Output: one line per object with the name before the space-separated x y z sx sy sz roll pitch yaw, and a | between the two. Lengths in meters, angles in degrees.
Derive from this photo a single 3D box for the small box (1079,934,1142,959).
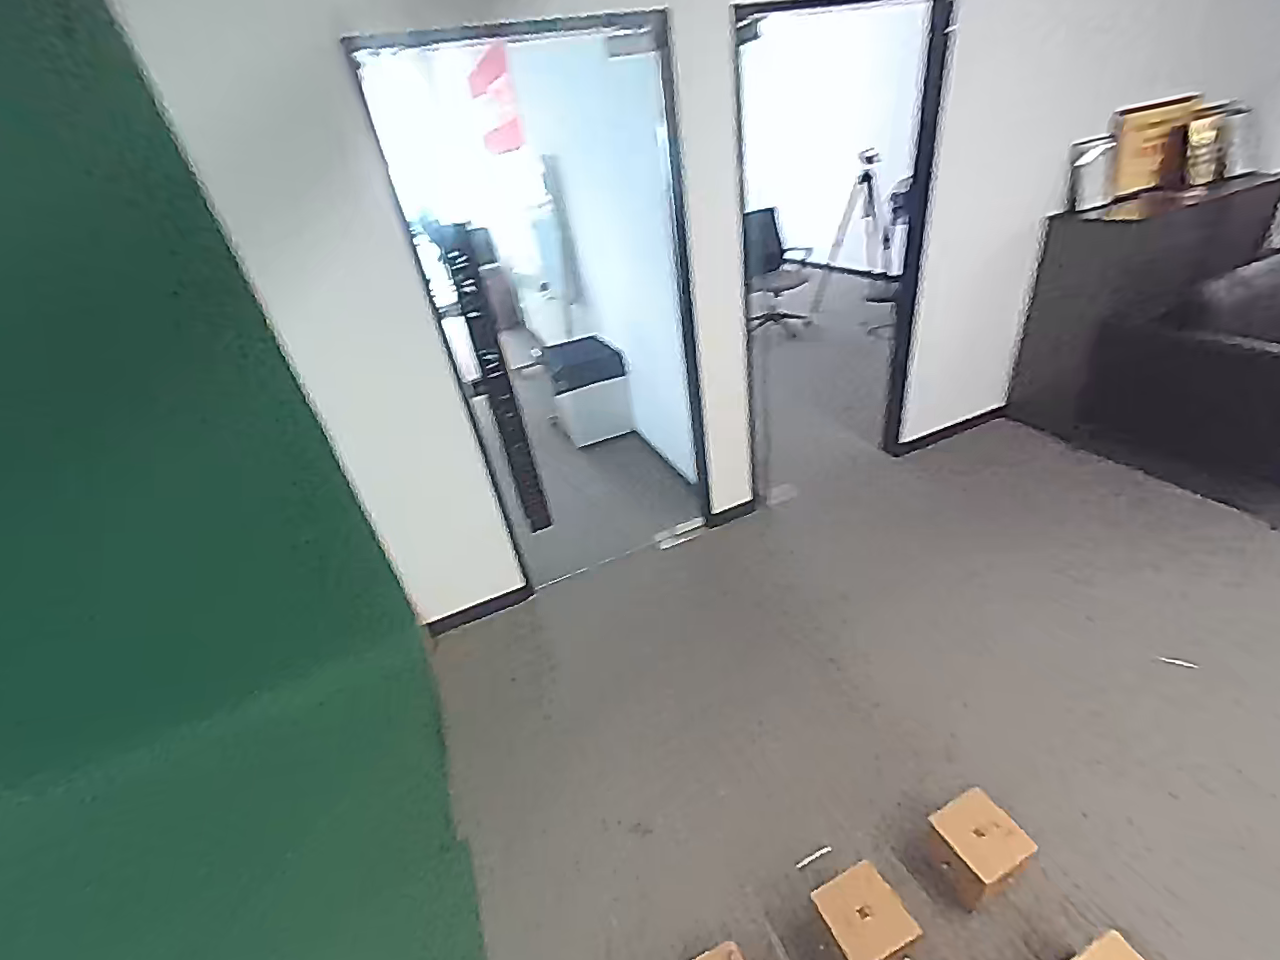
small box | 0.958 1.076 1.082 0.179 0.176 0.168 -18 32 -16

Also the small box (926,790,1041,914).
small box | 0.843 0.927 1.347 0.179 0.176 0.168 -18 33 -15

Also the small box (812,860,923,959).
small box | 0.516 1.040 1.253 0.179 0.176 0.168 -18 32 -14

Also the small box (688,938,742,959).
small box | 0.166 1.150 1.164 0.179 0.176 0.168 -17 32 -12
